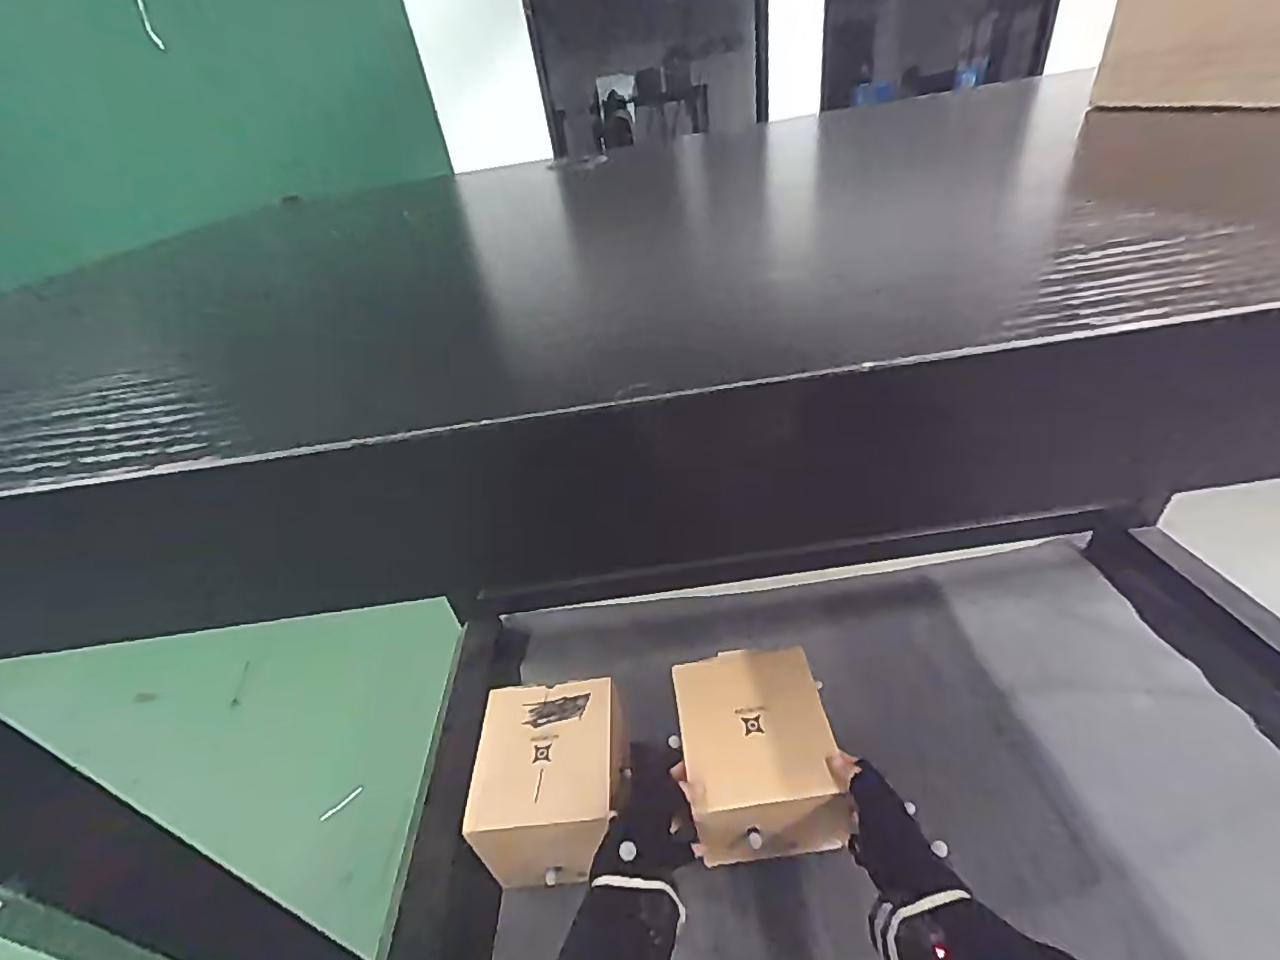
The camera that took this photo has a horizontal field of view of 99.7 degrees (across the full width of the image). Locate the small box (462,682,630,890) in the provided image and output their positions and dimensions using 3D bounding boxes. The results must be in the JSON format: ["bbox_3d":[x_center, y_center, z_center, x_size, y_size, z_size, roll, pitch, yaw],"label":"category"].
[{"bbox_3d":[-0.107,0.391,0.697,0.168,0.176,0.179,-7,36,3],"label":"small box"}]
